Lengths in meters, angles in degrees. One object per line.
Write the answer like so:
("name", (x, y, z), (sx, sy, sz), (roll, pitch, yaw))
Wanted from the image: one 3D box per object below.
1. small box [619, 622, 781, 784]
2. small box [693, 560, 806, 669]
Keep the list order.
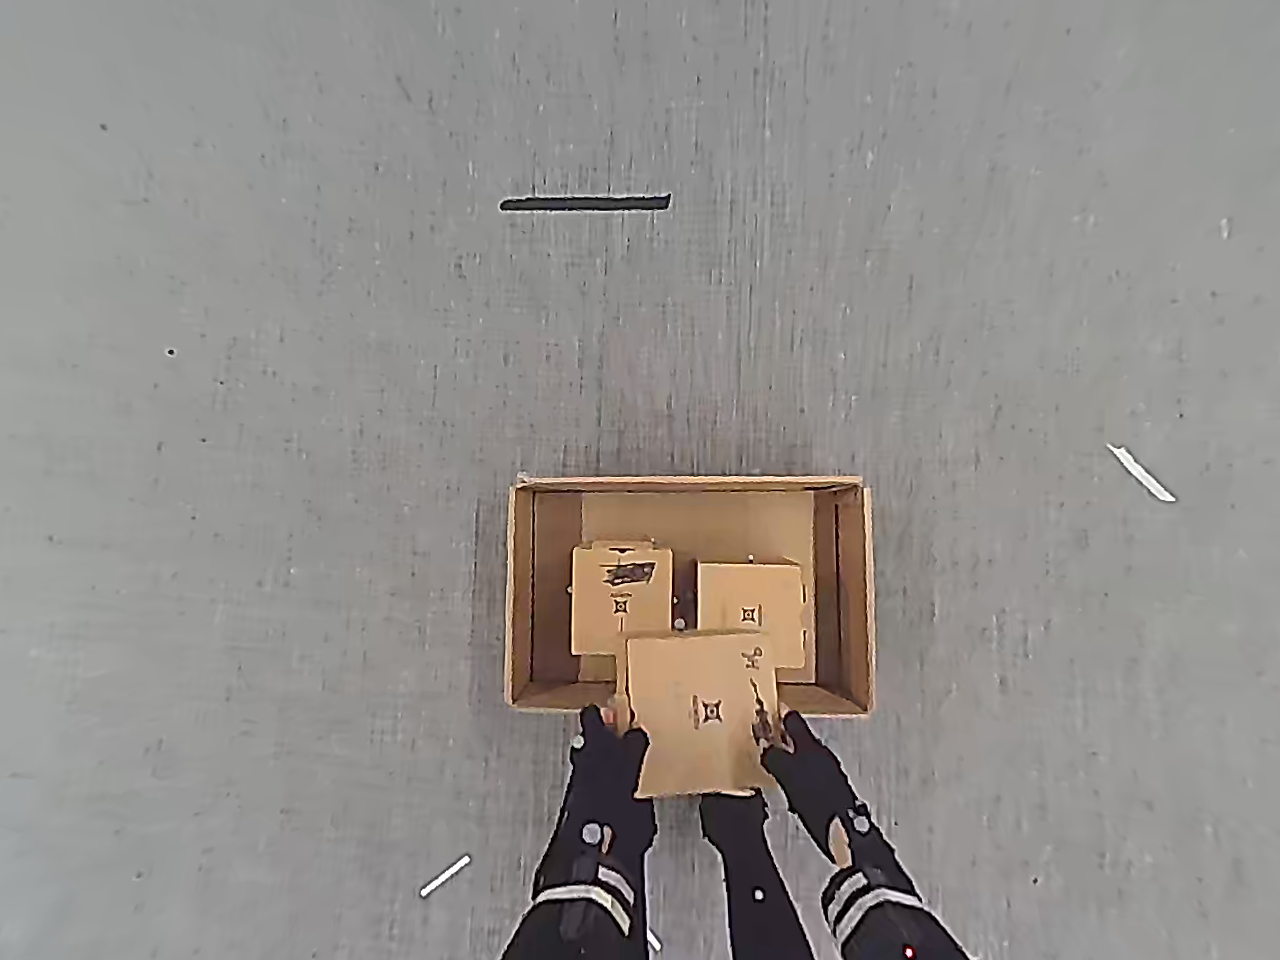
("small box", (0.063, 0.270, 0.689), (0.179, 0.176, 0.168), (-1, 77, -6))
("small box", (0.185, 0.229, 0.957), (0.179, 0.176, 0.168), (0, 84, 5))
